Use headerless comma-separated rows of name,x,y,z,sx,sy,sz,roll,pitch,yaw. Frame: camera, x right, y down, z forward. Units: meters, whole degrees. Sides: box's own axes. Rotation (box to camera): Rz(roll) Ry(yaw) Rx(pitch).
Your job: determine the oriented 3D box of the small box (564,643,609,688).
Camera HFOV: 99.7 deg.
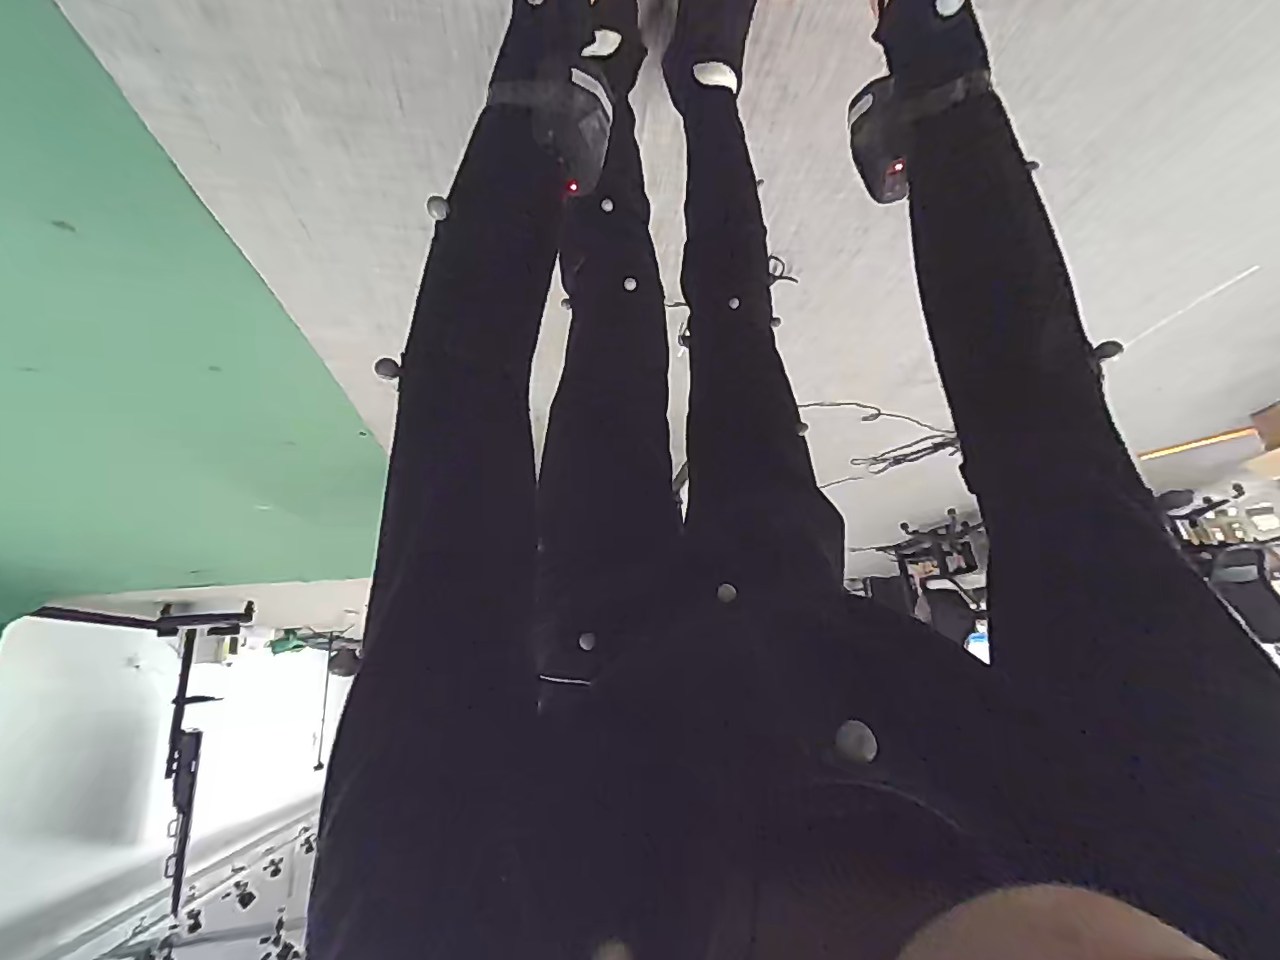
small box,-0.241,0.822,2.394,0.179,0.176,0.168,-3,158,-11
